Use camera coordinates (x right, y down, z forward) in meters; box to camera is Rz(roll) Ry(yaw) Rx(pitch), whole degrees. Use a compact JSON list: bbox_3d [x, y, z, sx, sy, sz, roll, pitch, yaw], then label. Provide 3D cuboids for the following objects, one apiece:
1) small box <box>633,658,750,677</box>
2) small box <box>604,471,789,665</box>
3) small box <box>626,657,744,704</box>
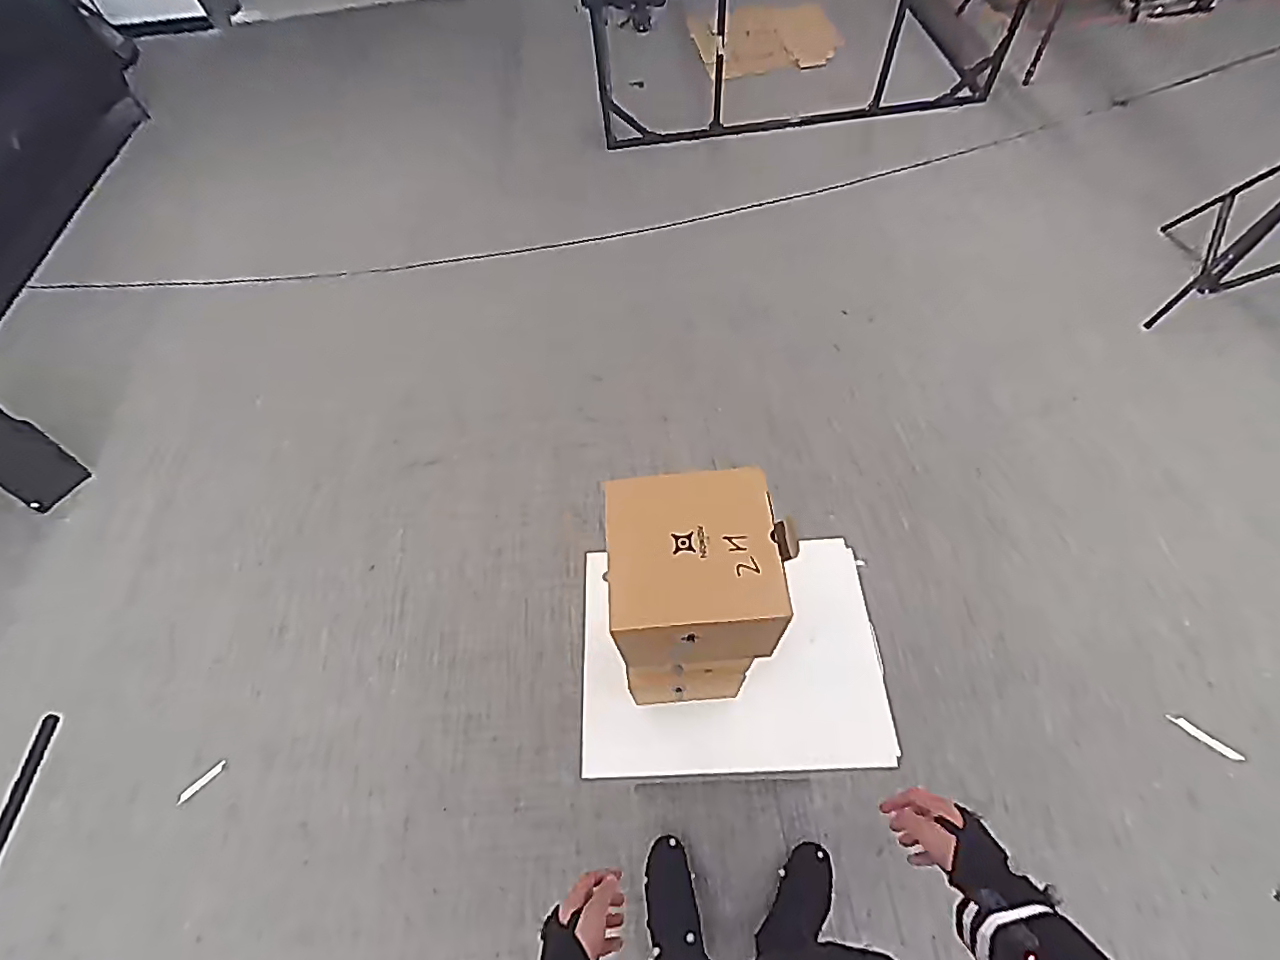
[{"bbox_3d":[0.067,0.176,0.768,0.168,0.176,0.179,-5,58,2],"label":"small box"},{"bbox_3d":[0.058,0.108,0.618,0.179,0.176,0.168,-5,59,2],"label":"small box"},{"bbox_3d":[0.069,0.271,0.901,0.179,0.176,0.168,-5,59,1],"label":"small box"}]
